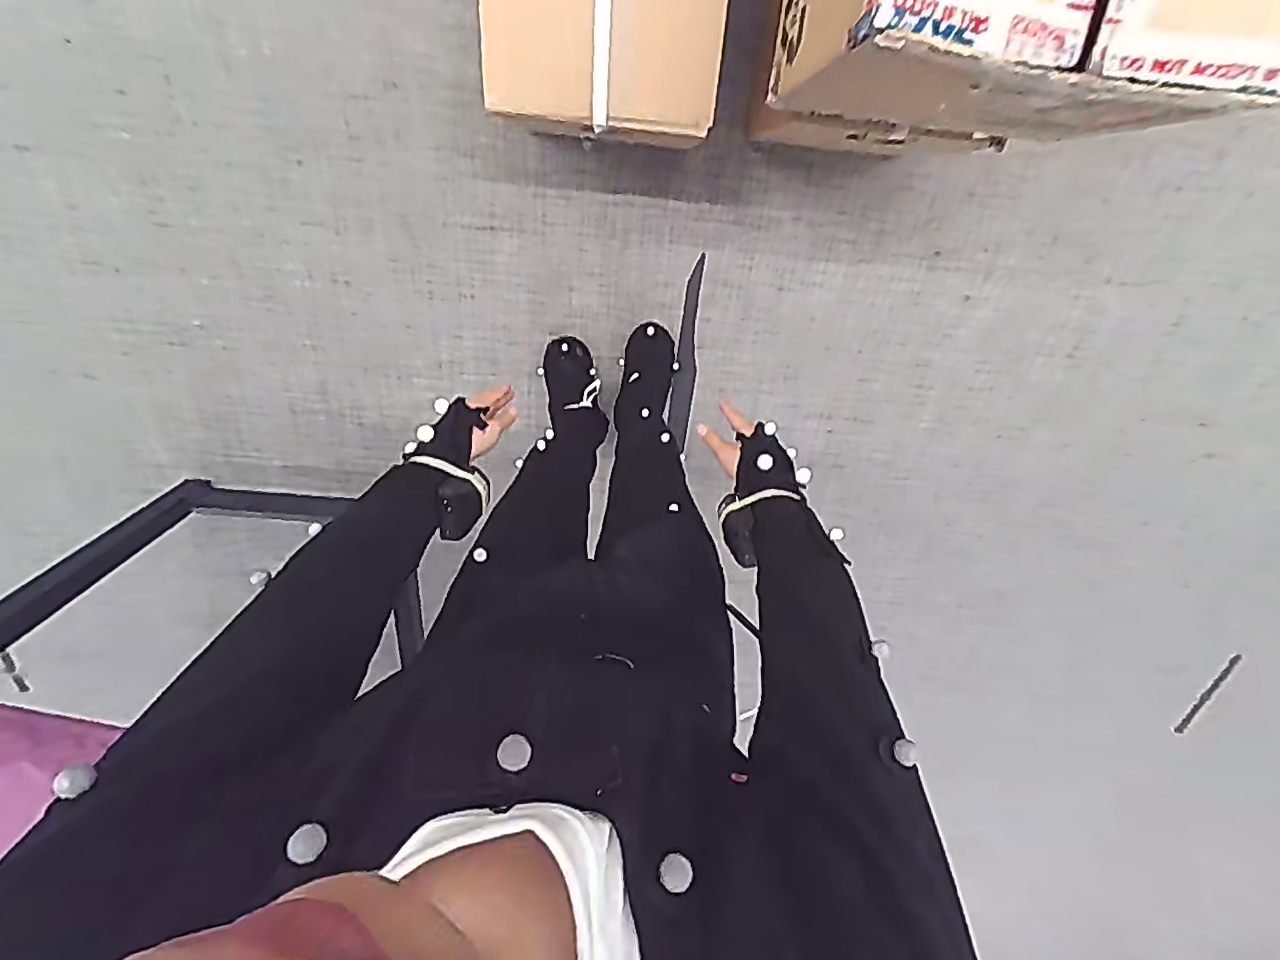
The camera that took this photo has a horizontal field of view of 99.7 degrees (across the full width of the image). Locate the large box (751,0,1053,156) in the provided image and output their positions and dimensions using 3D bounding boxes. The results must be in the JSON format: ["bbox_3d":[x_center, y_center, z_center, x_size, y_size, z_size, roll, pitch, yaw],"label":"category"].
[{"bbox_3d":[0.373,-0.727,0.791,0.320,0.320,0.408,3,118,-3],"label":"large box"}]
